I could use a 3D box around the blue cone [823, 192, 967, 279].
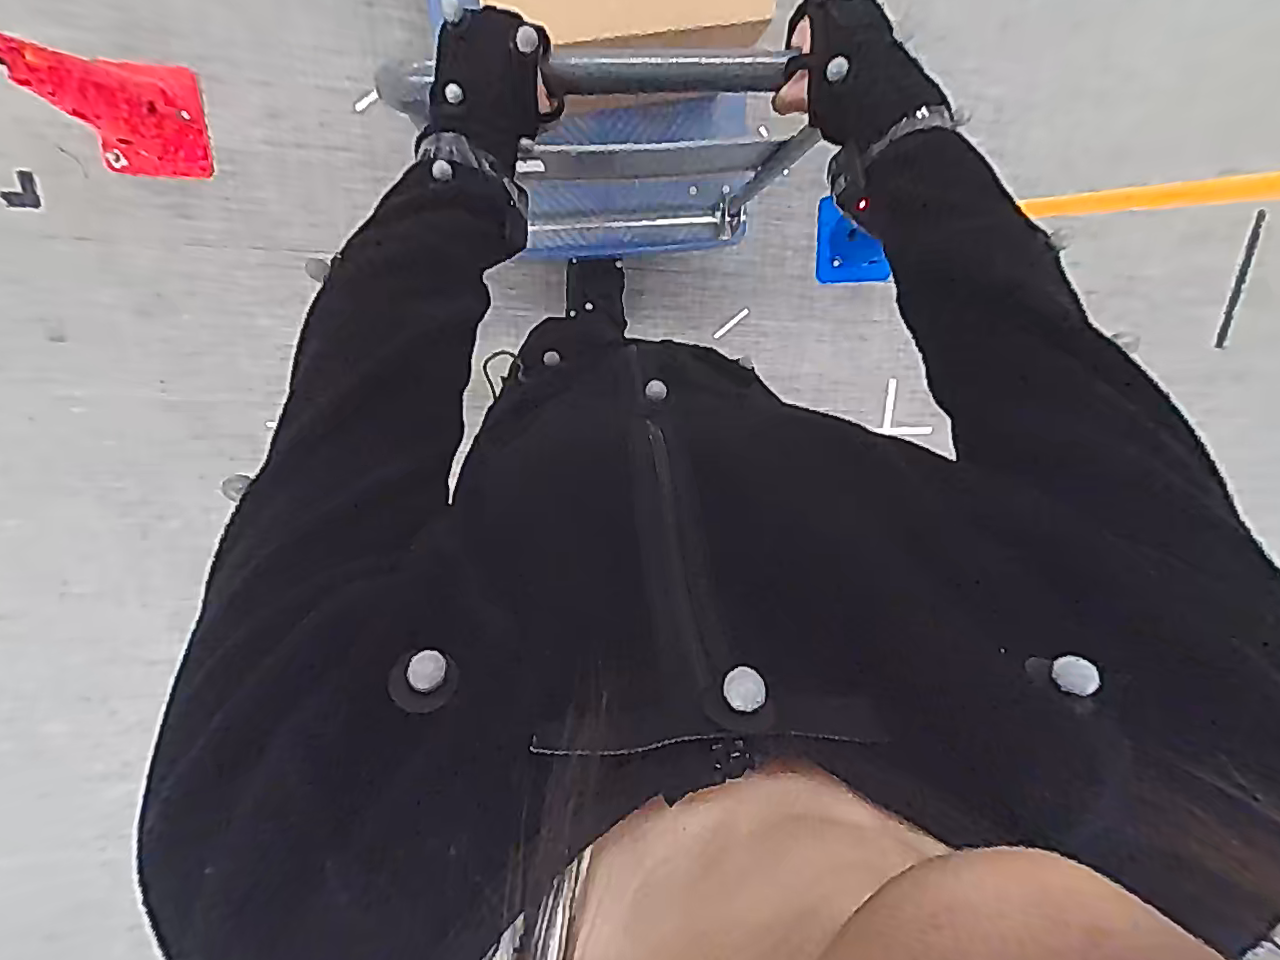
[{"bbox_3d":[0.563,-0.552,1.176,0.193,0.380,0.192,-3,106,-7],"label":"blue cone"}]
